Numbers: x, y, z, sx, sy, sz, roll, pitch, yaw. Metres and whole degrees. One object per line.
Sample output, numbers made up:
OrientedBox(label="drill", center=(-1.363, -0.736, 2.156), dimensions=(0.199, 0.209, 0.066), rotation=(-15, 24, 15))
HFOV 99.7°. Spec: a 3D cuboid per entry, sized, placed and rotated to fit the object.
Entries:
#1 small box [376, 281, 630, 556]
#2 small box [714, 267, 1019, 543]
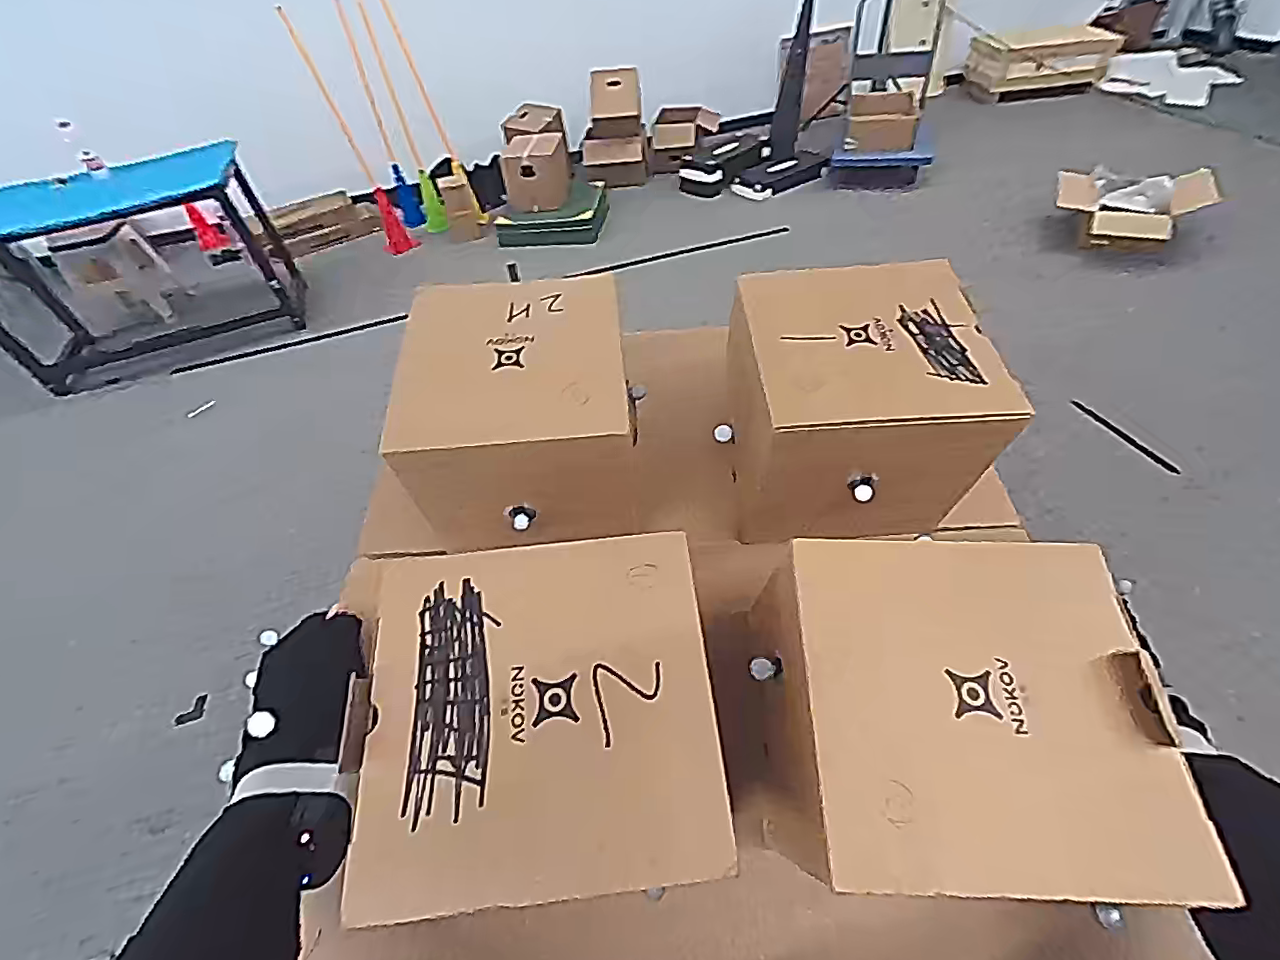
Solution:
OrientedBox(label="small box", center=(-0.097, -0.044, 0.469), dimensions=(0.168, 0.176, 0.179), rotation=(-4, 56, -2))
OrientedBox(label="small box", center=(0.165, -0.057, 0.467), dimensions=(0.179, 0.176, 0.168), rotation=(-4, 56, 1))
